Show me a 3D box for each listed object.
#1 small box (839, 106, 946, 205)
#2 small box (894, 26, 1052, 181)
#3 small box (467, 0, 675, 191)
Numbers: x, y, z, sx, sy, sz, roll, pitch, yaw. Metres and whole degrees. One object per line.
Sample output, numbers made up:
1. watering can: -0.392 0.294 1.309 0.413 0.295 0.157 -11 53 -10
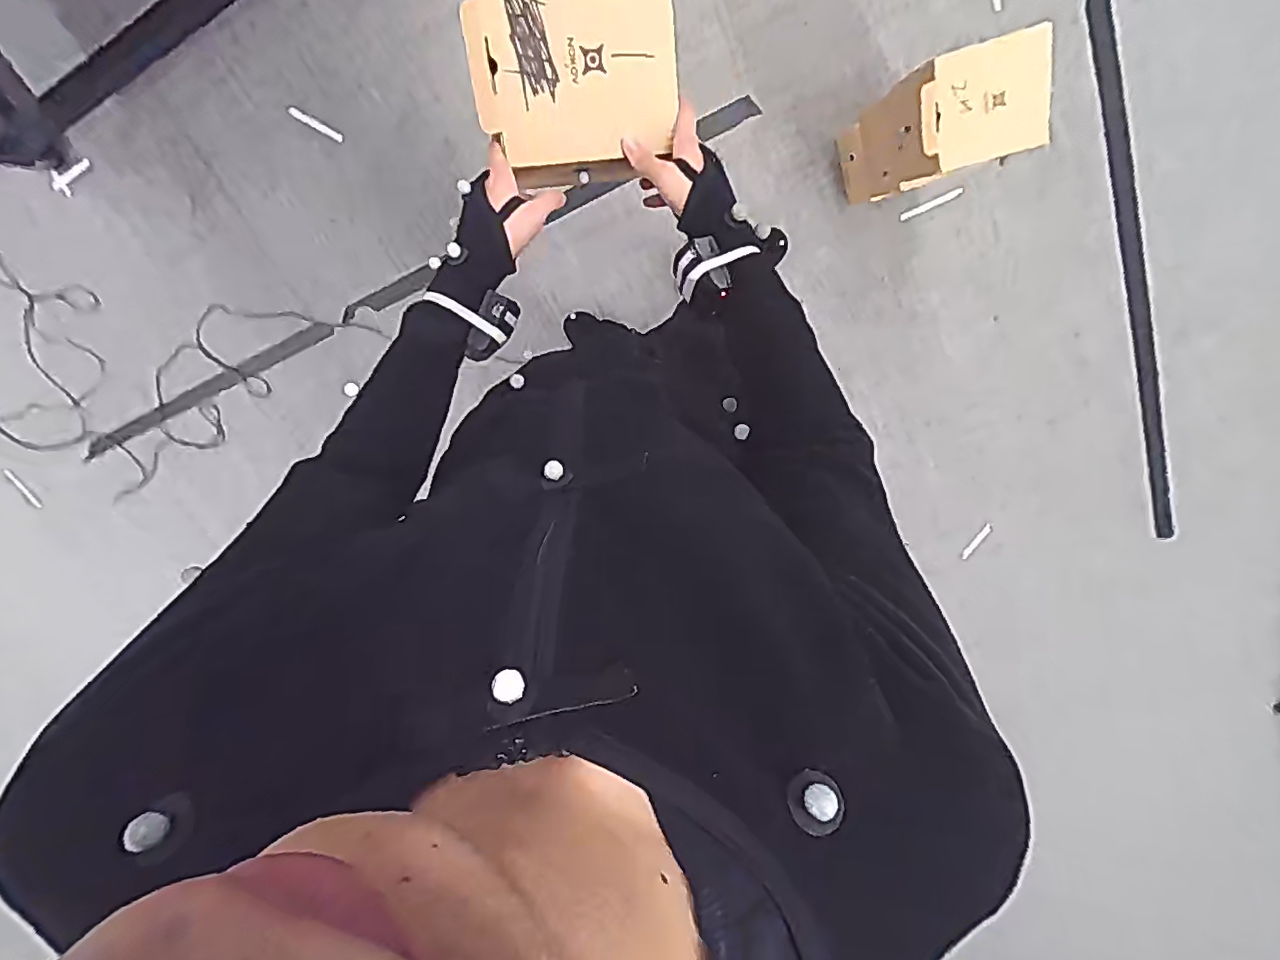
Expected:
1. small box: 0.572 -0.751 1.242 0.179 0.176 0.168 -18 111 10
2. small box: 0.563 -0.634 0.933 0.179 0.176 0.168 -12 113 8
3. small box: -0.069 -0.414 0.572 0.179 0.176 0.168 -10 113 -5
